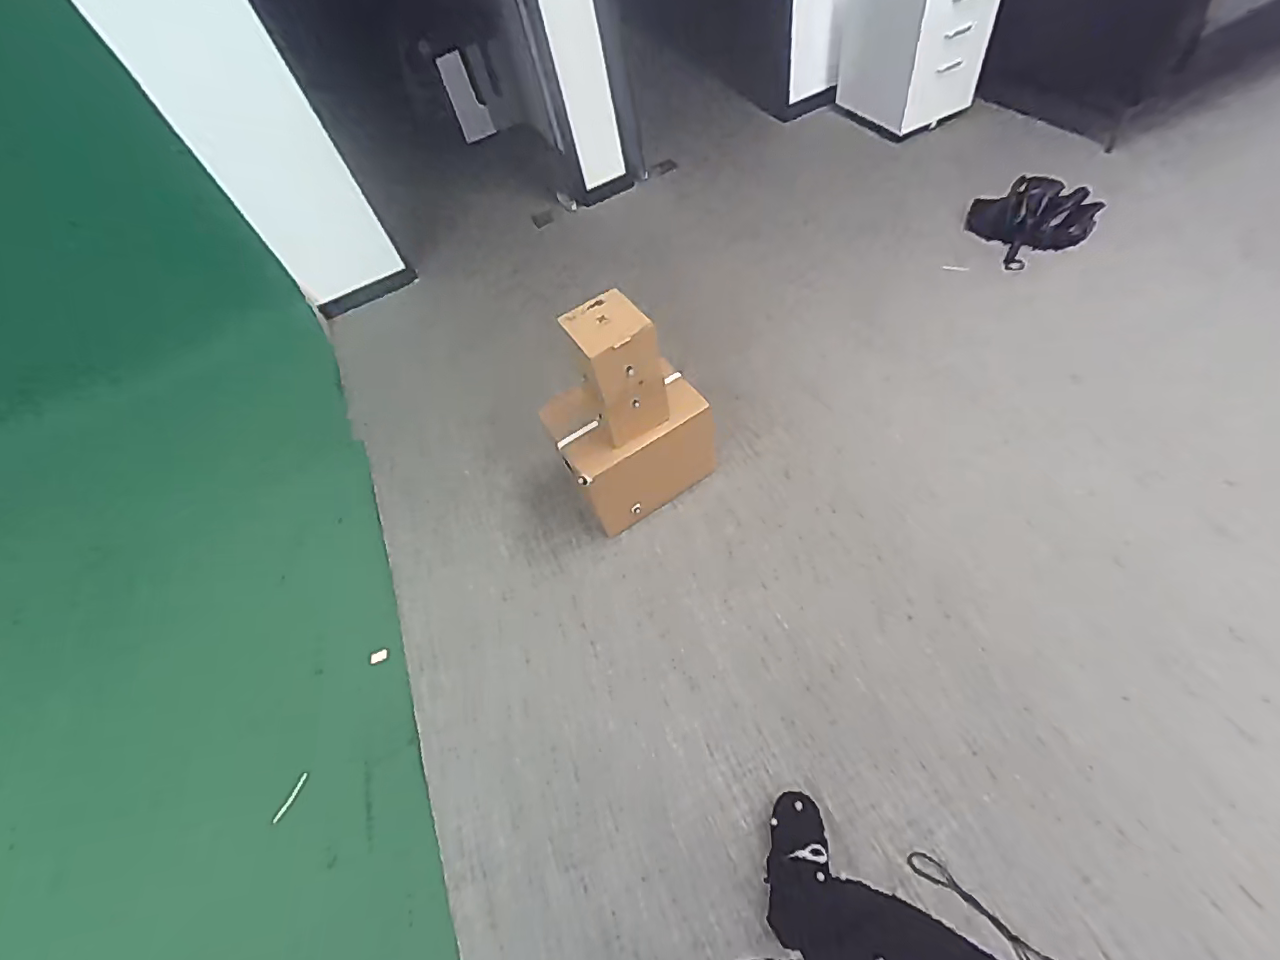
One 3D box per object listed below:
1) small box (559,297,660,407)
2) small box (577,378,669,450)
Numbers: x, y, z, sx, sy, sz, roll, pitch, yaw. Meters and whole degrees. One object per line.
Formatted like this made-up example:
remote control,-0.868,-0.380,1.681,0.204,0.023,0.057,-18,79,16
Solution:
small box,-0.068,-0.300,1.310,0.168,0.176,0.179,-31,56,-10
small box,-0.040,-0.210,1.445,0.179,0.176,0.168,-30,56,-11
